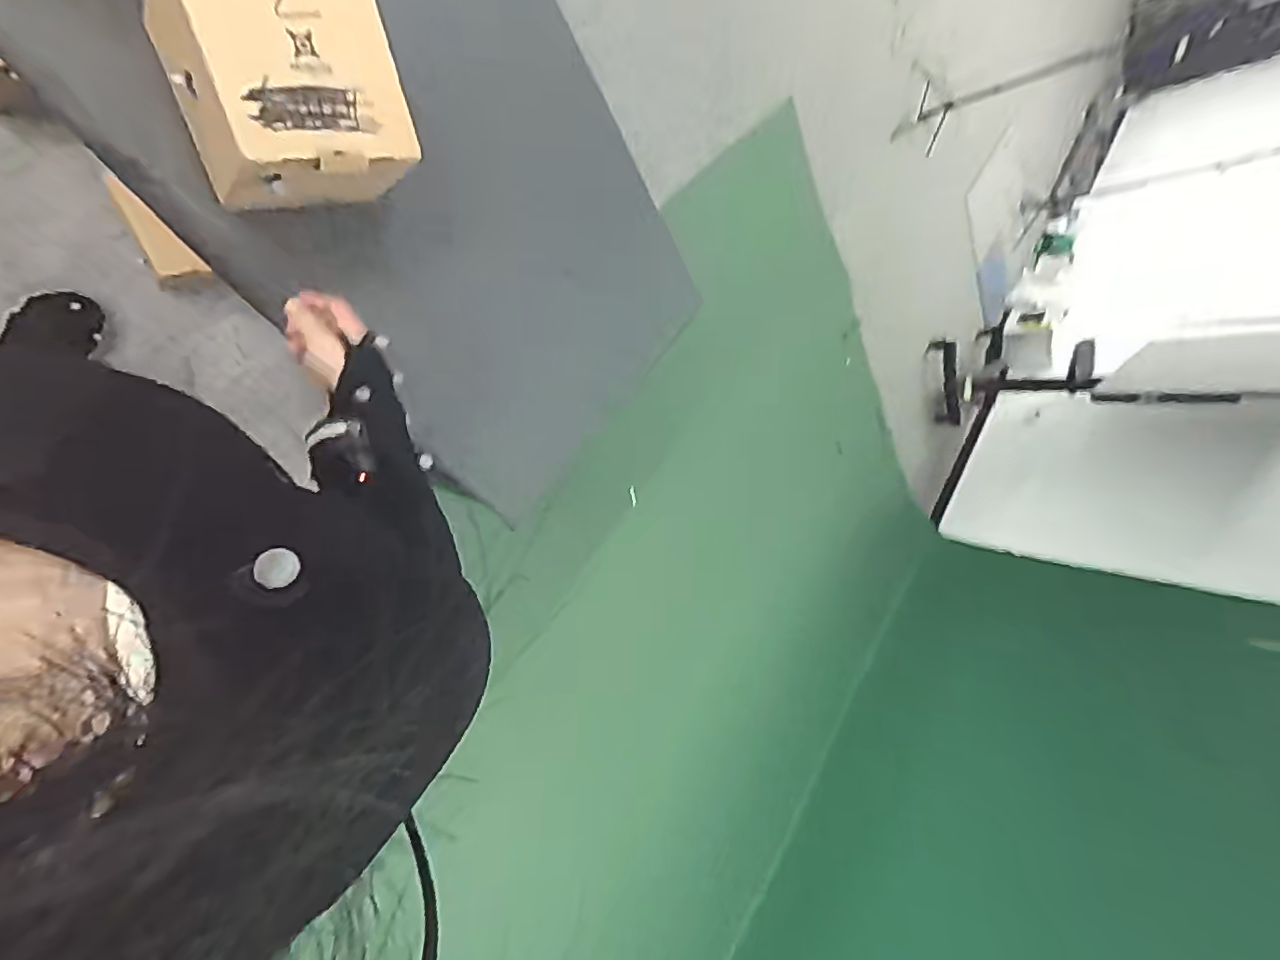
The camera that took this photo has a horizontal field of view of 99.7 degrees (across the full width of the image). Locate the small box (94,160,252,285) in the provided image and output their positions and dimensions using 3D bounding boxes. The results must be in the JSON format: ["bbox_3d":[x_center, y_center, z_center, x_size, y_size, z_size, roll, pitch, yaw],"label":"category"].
[{"bbox_3d":[-0.888,-0.485,1.039,0.168,0.176,0.179,-34,117,-35],"label":"small box"}]

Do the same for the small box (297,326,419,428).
[{"bbox_3d":[-0.670,-0.240,1.279,0.168,0.176,0.179,-47,126,-26],"label":"small box"}]
